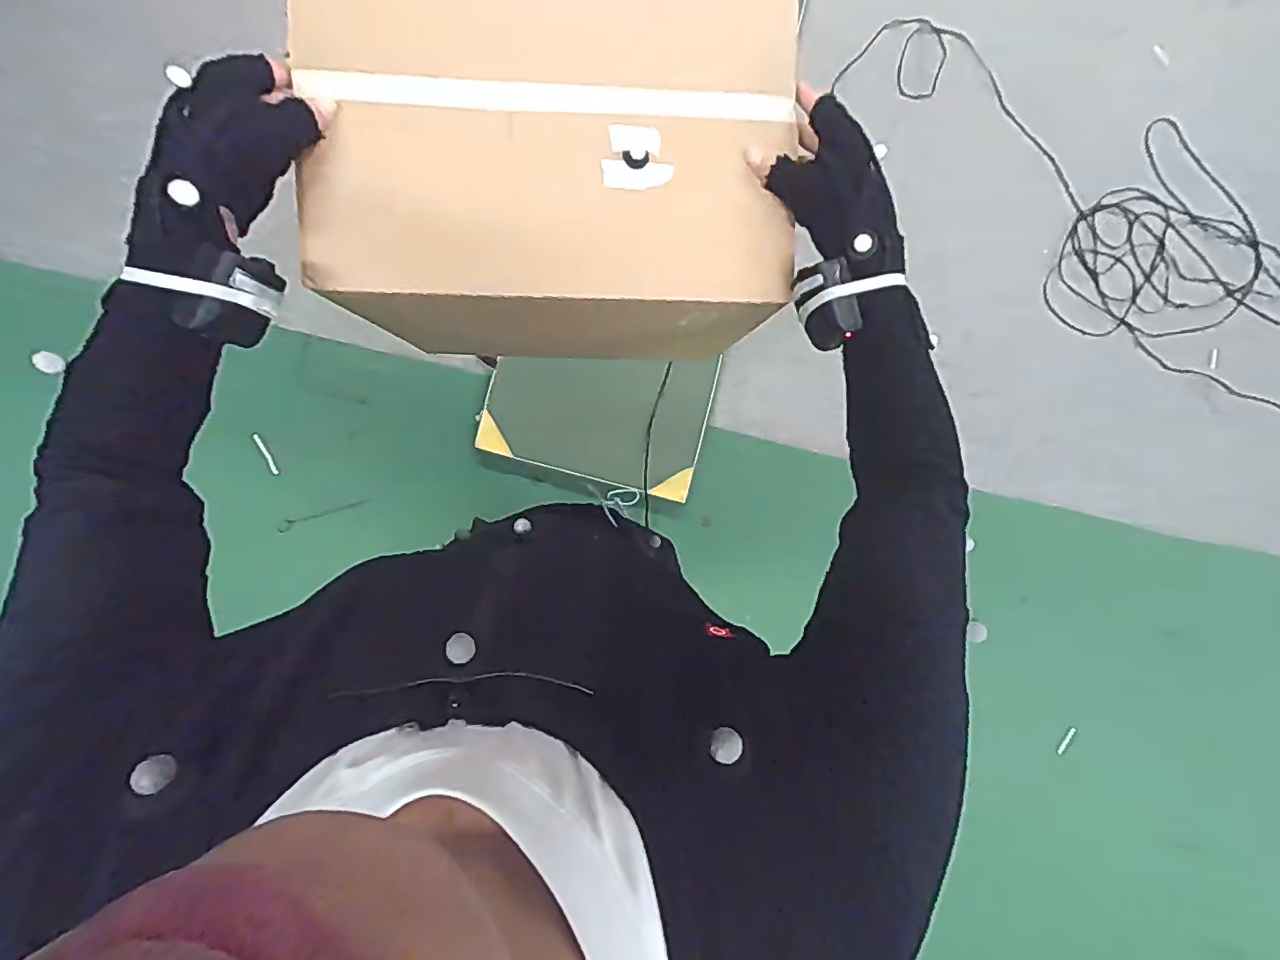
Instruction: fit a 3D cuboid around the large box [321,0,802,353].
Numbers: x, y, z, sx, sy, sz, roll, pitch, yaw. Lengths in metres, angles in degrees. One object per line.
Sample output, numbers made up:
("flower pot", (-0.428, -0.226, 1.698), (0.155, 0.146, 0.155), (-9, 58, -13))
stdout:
("large box", (-0.073, -0.323, 0.601), (0.408, 0.320, 0.320), (0, 94, -6))
